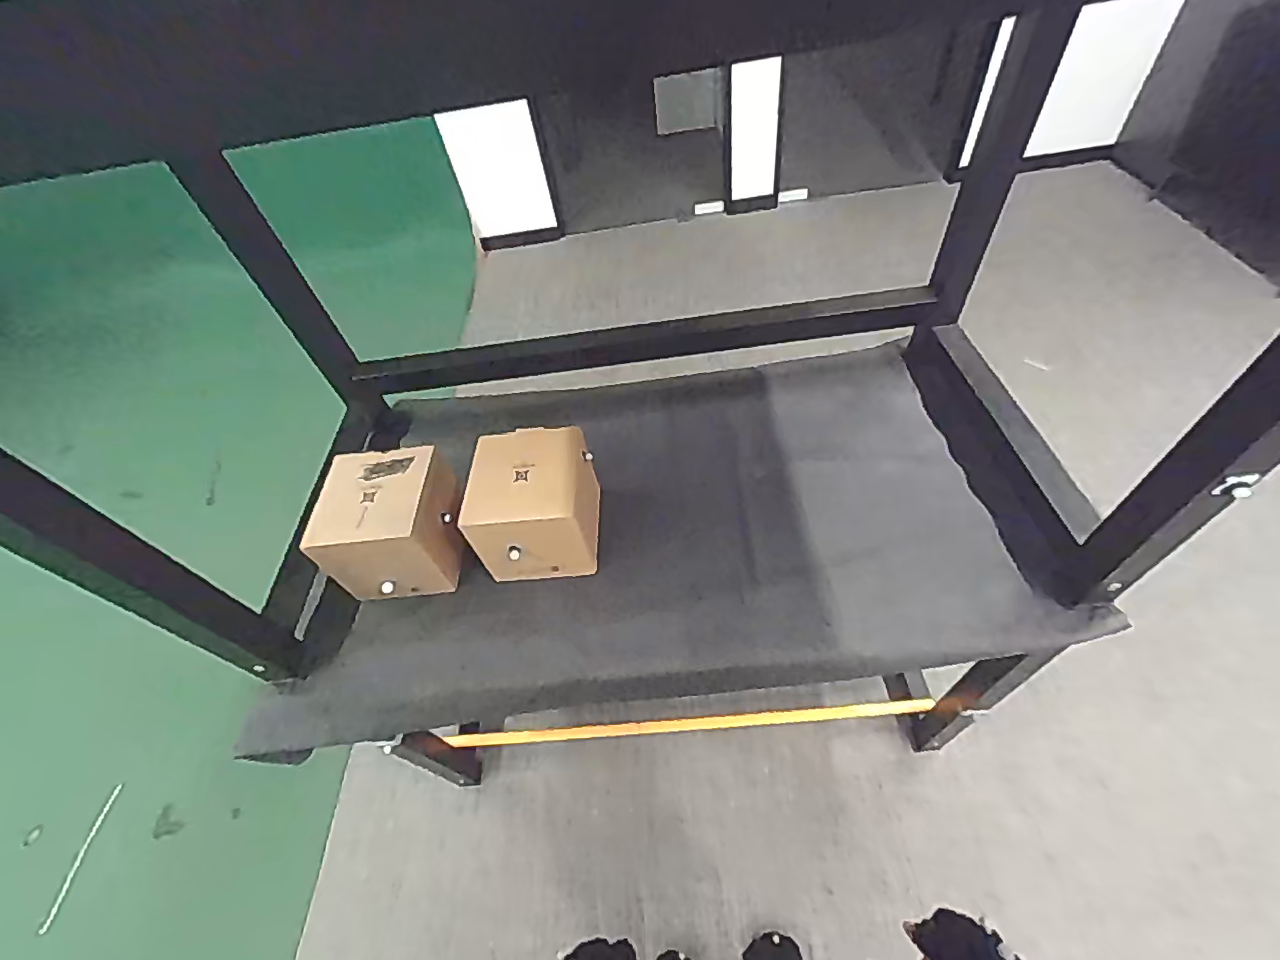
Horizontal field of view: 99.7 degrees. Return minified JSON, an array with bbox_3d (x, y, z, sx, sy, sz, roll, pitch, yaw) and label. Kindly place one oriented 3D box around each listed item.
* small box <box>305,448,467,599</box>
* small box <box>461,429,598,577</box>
[{"bbox_3d":[-0.389,0.072,0.874,0.168,0.176,0.179,-6,51,4],"label":"small box"},{"bbox_3d":[-0.163,0.044,0.865,0.168,0.176,0.179,-5,50,5],"label":"small box"}]
